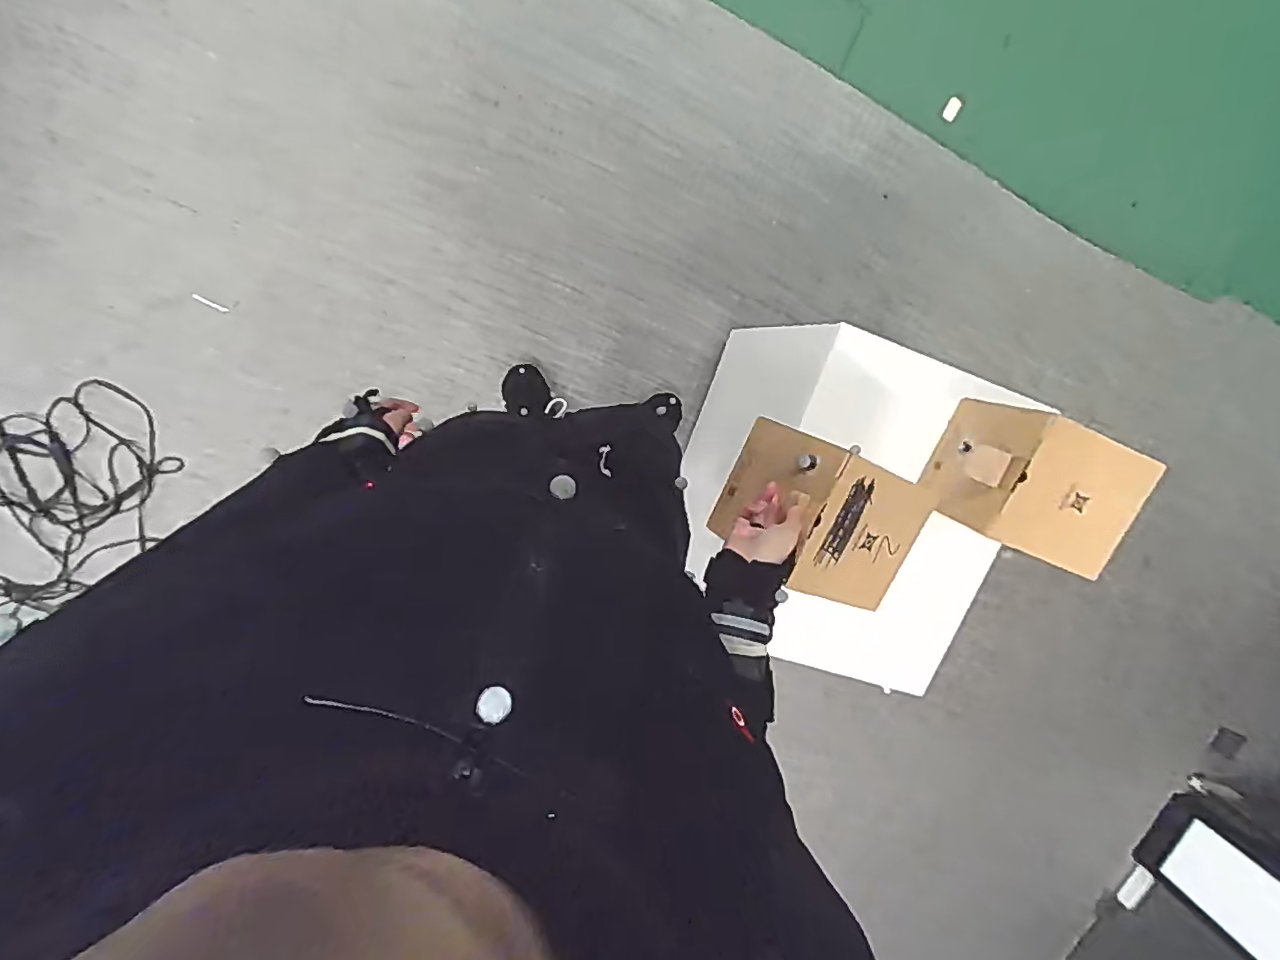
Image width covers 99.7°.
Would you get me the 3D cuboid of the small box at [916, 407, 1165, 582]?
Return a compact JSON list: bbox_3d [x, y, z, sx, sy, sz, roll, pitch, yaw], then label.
[{"bbox_3d":[0.528,0.010,0.740,0.179,0.176,0.168,21,102,-10],"label":"small box"}]
